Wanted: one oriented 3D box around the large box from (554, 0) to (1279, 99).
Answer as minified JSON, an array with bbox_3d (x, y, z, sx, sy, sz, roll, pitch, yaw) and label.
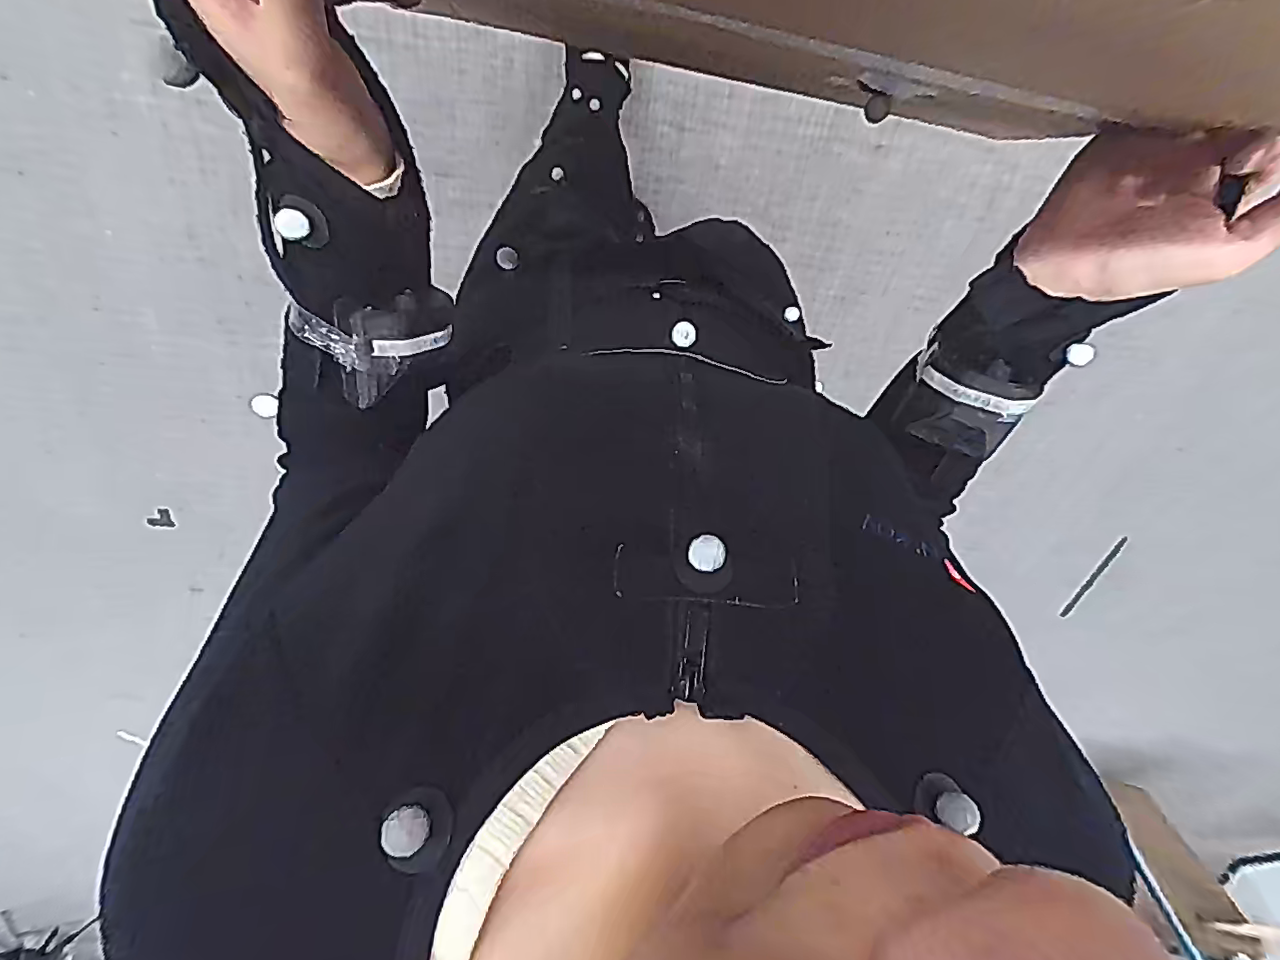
[{"bbox_3d":[0.083,-0.322,0.126,0.408,0.320,0.320,5,122,-8],"label":"large box"}]
